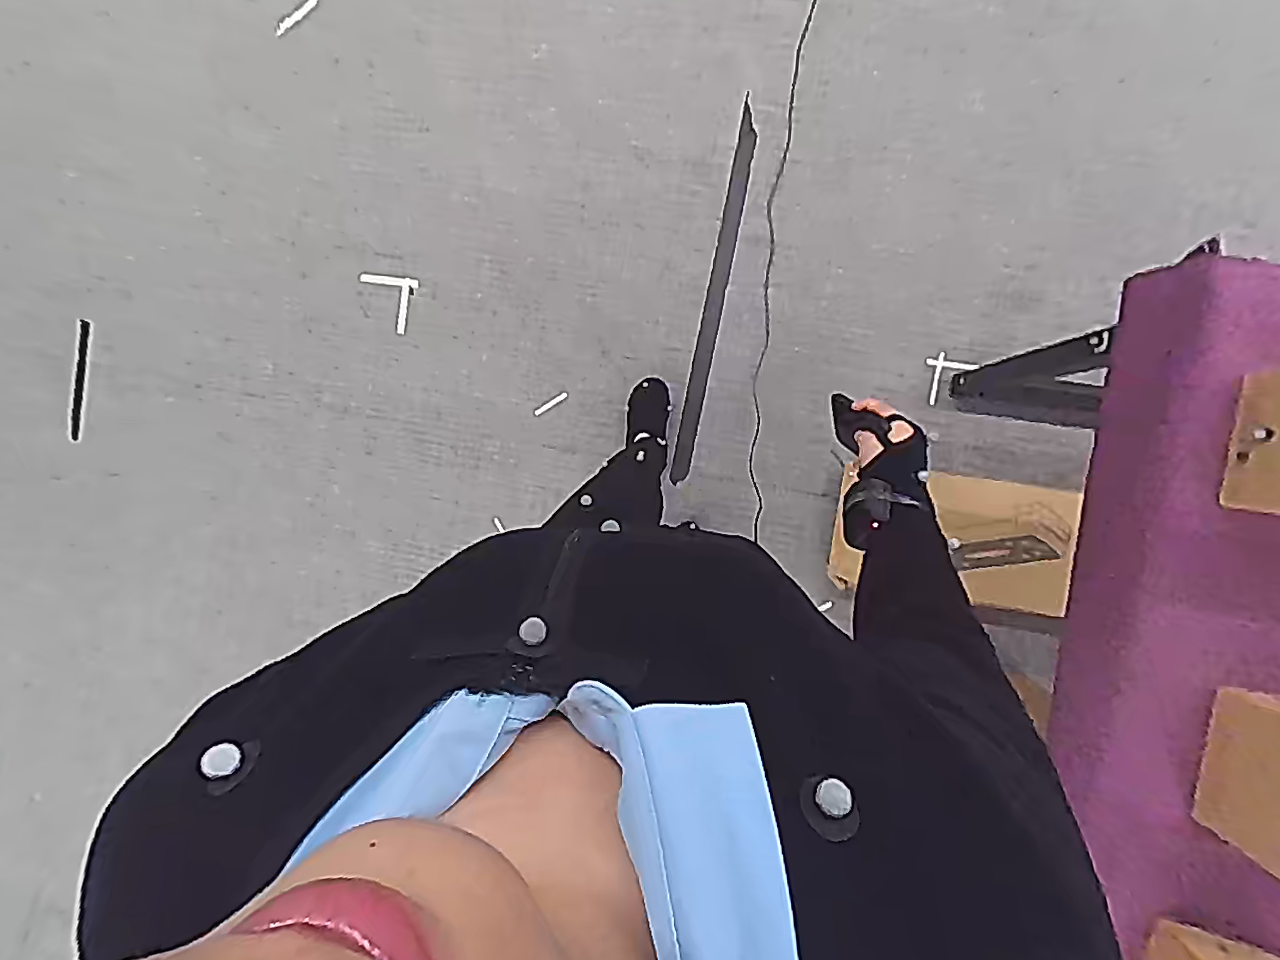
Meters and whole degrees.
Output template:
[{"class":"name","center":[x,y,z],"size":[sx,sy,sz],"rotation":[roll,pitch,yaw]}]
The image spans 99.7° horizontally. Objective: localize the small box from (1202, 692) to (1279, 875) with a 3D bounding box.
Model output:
[{"class":"small box","center":[0.793,0.364,0.597],"size":[0.168,0.176,0.179],"rotation":[8,93,3]}]

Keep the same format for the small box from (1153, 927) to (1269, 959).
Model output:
[{"class":"small box","center":[0.724,0.674,0.617],"size":[0.168,0.176,0.179],"rotation":[16,94,5]}]
